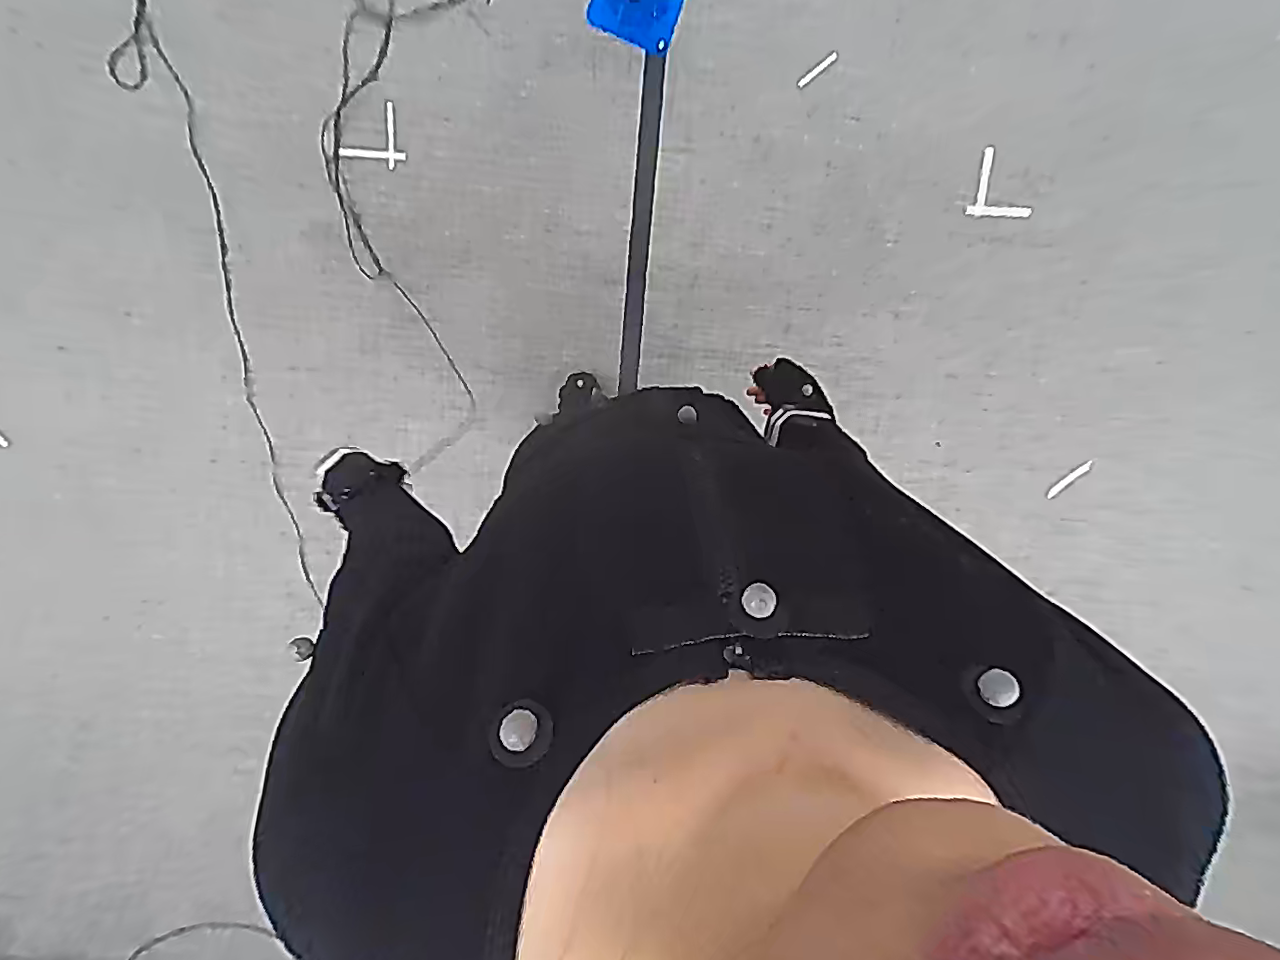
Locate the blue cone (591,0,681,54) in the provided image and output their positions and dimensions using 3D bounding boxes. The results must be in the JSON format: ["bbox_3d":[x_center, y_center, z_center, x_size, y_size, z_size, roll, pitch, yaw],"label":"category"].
[{"bbox_3d":[0.009,-1.061,1.069,0.192,0.380,0.193,19,101,-9],"label":"blue cone"}]
